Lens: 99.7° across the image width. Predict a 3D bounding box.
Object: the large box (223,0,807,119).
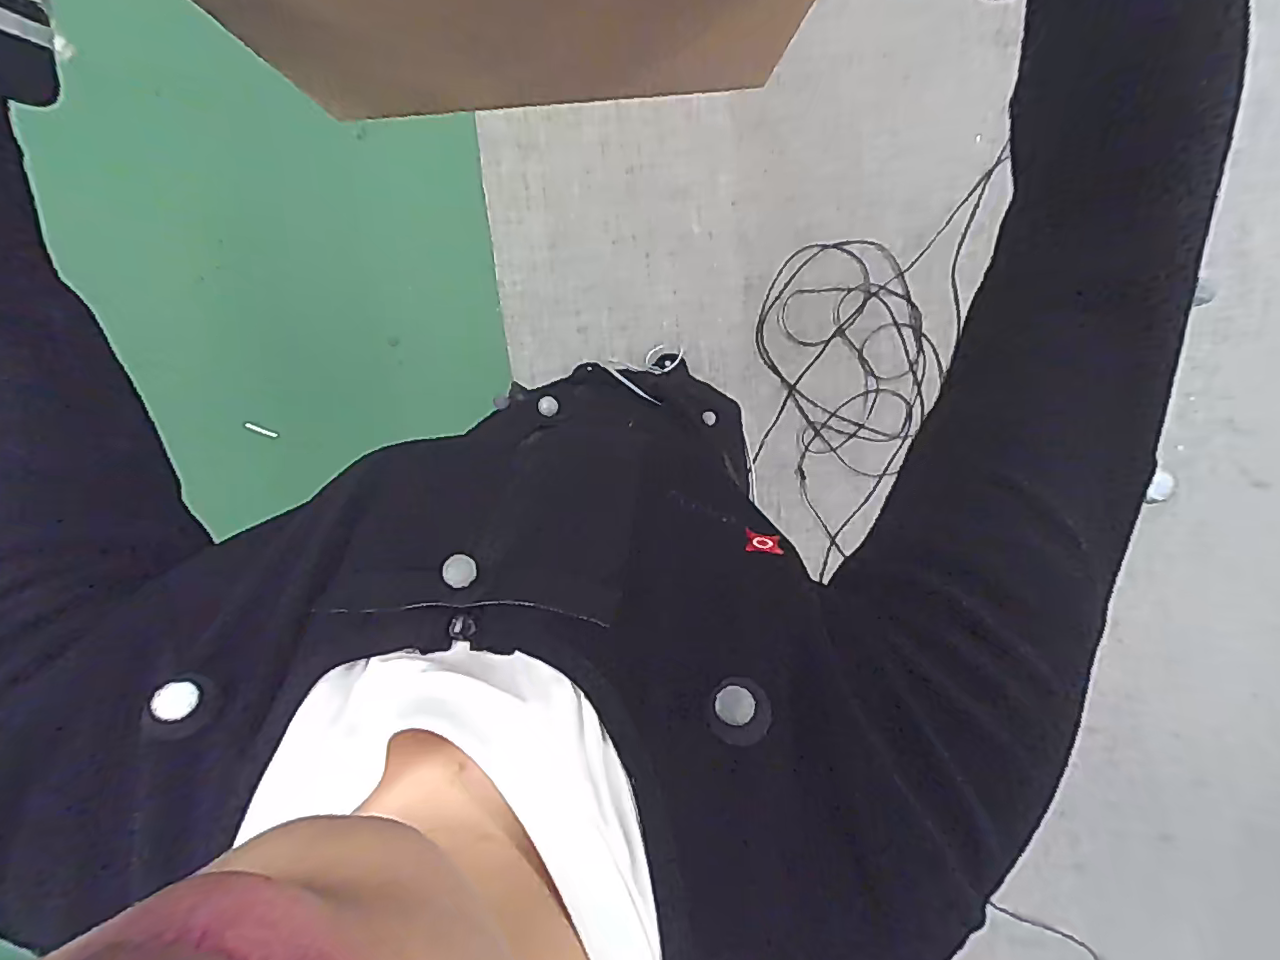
[{"bbox_3d":[-0.084,-0.470,0.332,0.408,0.320,0.320,-6,104,-3],"label":"large box"}]
